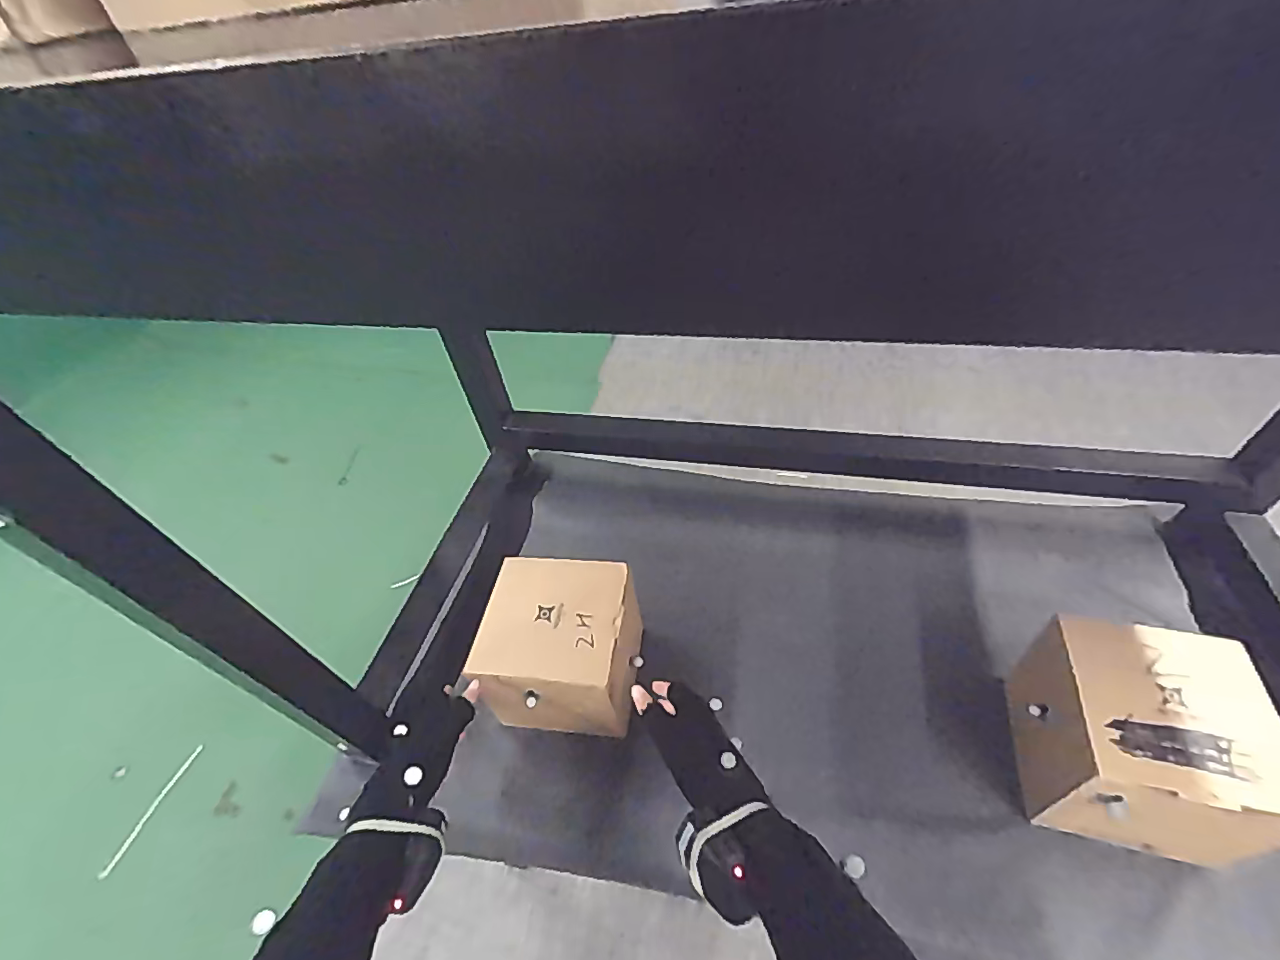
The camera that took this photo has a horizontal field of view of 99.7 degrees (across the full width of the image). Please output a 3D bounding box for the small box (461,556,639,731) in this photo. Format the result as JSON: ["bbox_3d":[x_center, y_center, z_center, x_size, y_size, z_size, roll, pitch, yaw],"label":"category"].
[{"bbox_3d":[-0.106,0.221,0.728,0.179,0.176,0.168,2,48,10],"label":"small box"}]

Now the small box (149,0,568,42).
[{"bbox_3d":[-0.090,-0.257,0.169,0.168,0.176,0.179,4,47,12],"label":"small box"}]
